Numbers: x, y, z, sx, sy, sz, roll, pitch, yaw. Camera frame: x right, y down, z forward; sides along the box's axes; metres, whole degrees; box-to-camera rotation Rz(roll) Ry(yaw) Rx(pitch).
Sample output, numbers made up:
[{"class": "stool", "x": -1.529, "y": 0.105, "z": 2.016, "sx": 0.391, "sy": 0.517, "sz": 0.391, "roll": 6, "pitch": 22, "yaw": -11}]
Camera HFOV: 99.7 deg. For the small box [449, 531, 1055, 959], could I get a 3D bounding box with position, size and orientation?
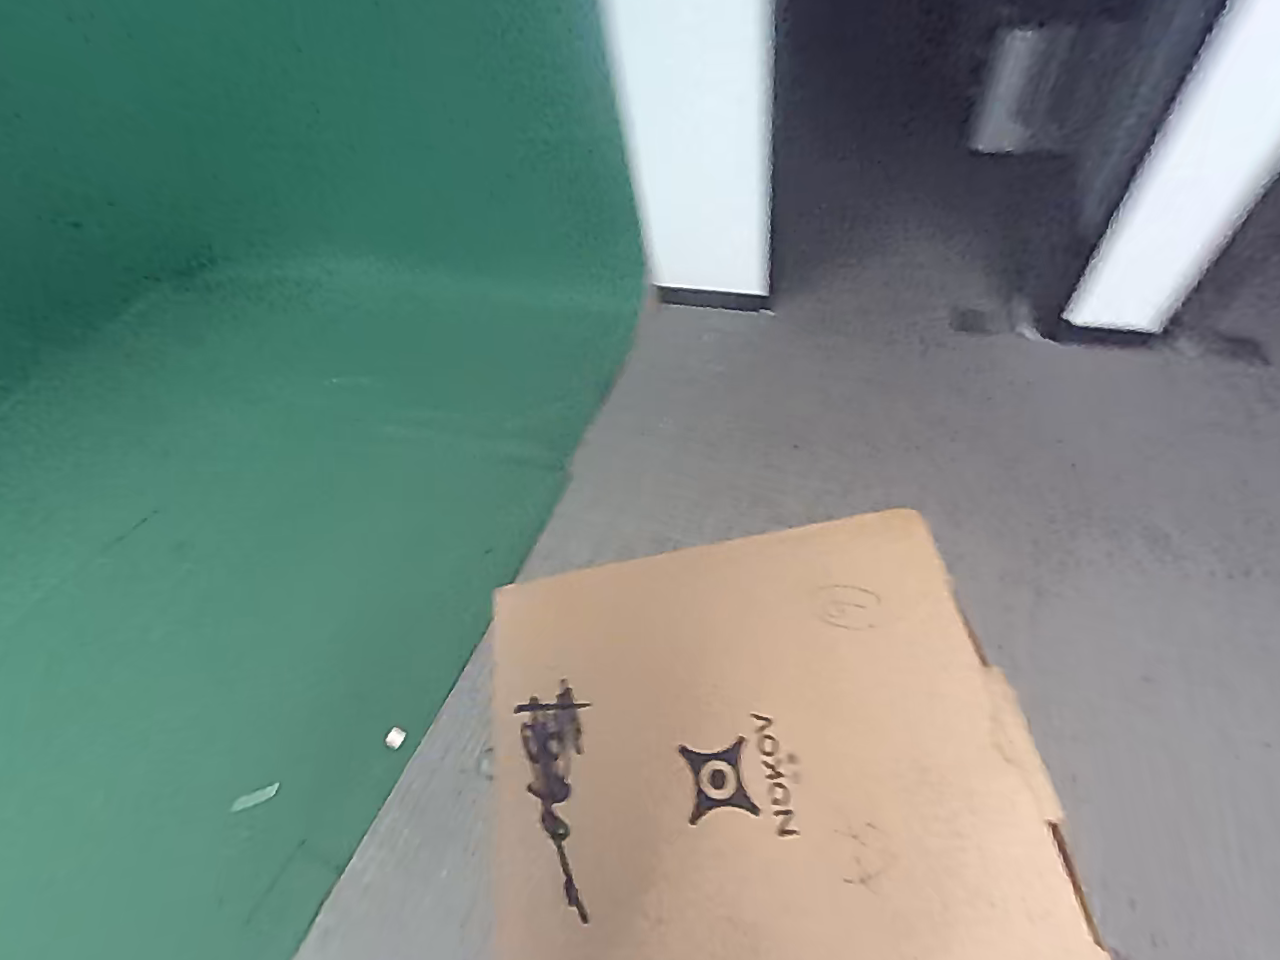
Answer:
[{"class": "small box", "x": 0.035, "y": 0.141, "z": 0.245, "sx": 0.179, "sy": 0.176, "sz": 0.168, "roll": -11, "pitch": 60, "yaw": 5}]
